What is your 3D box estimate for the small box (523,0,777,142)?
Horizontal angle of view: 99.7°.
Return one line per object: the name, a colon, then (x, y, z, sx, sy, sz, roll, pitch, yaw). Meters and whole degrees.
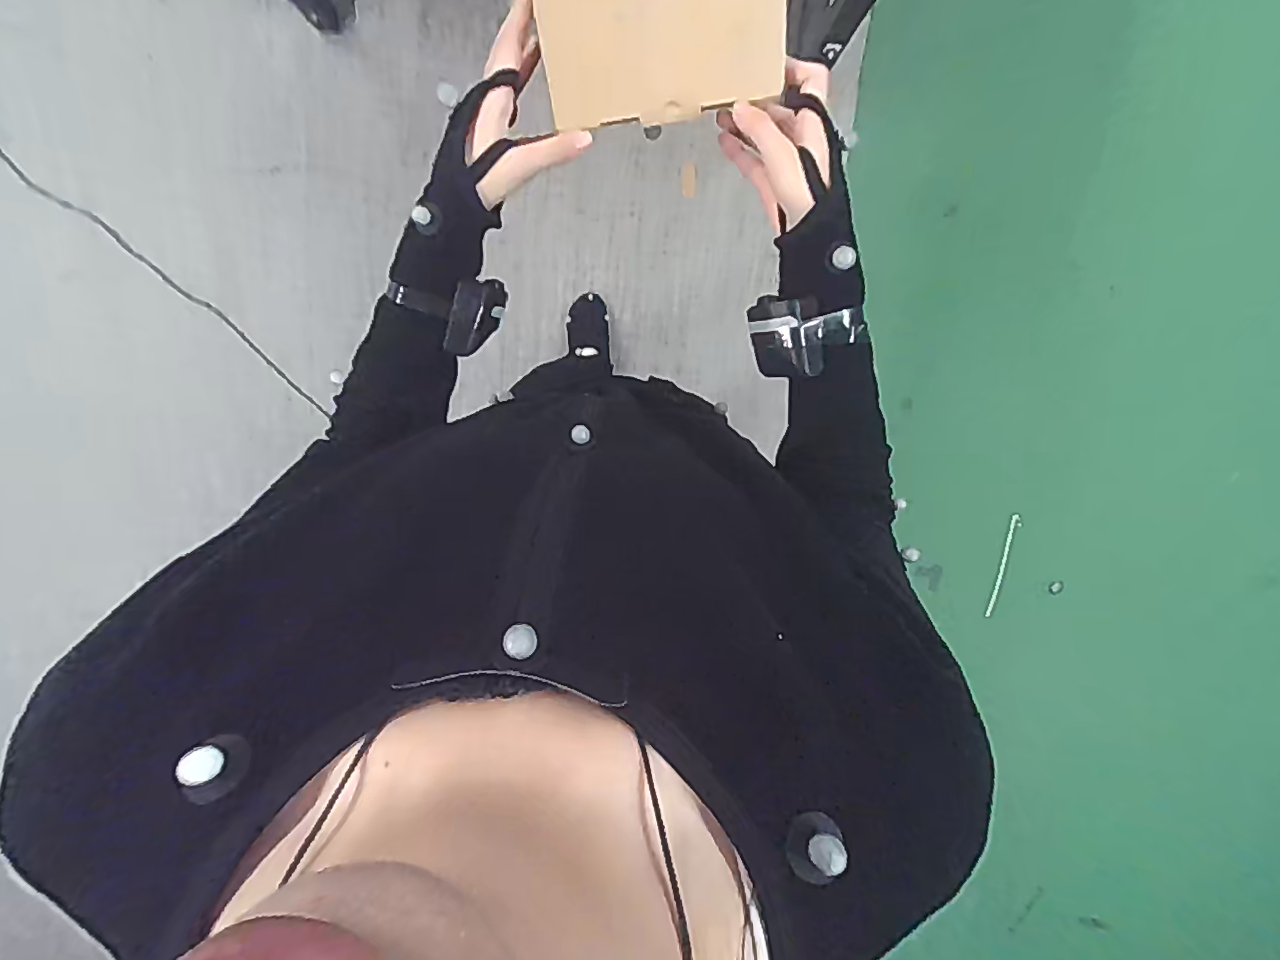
small box: (-0.003, -0.369, 0.397, 0.168, 0.176, 0.179, -11, 126, -1)
